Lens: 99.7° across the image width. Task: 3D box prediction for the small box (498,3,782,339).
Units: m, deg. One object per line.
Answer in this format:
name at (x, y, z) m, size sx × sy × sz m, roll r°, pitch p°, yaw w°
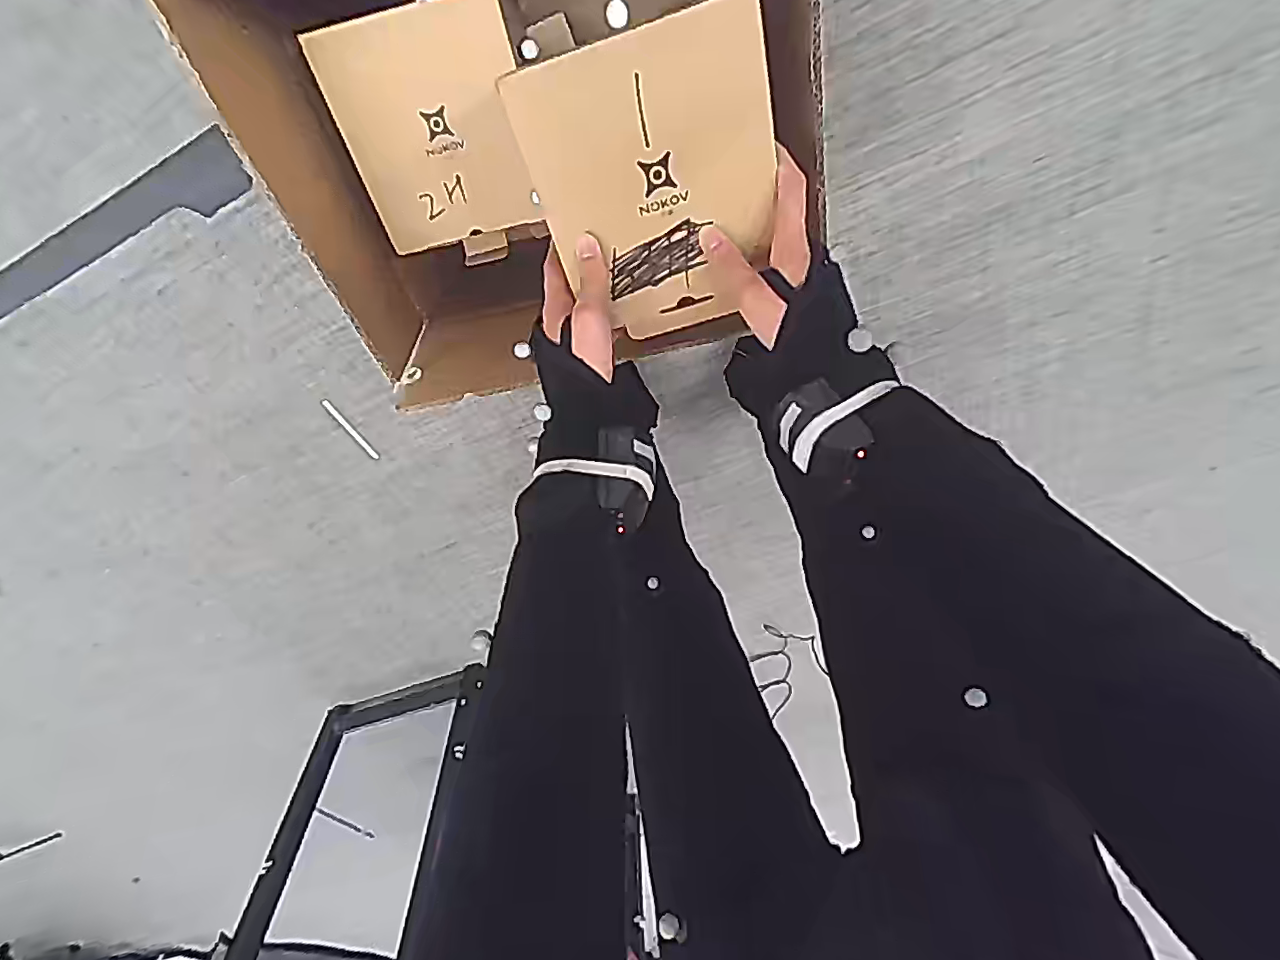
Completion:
small box at (0.005, -0.247, 0.440) m, size 0.168 × 0.176 × 0.179 m, roll -16°, pitch 128°, yaw 6°
